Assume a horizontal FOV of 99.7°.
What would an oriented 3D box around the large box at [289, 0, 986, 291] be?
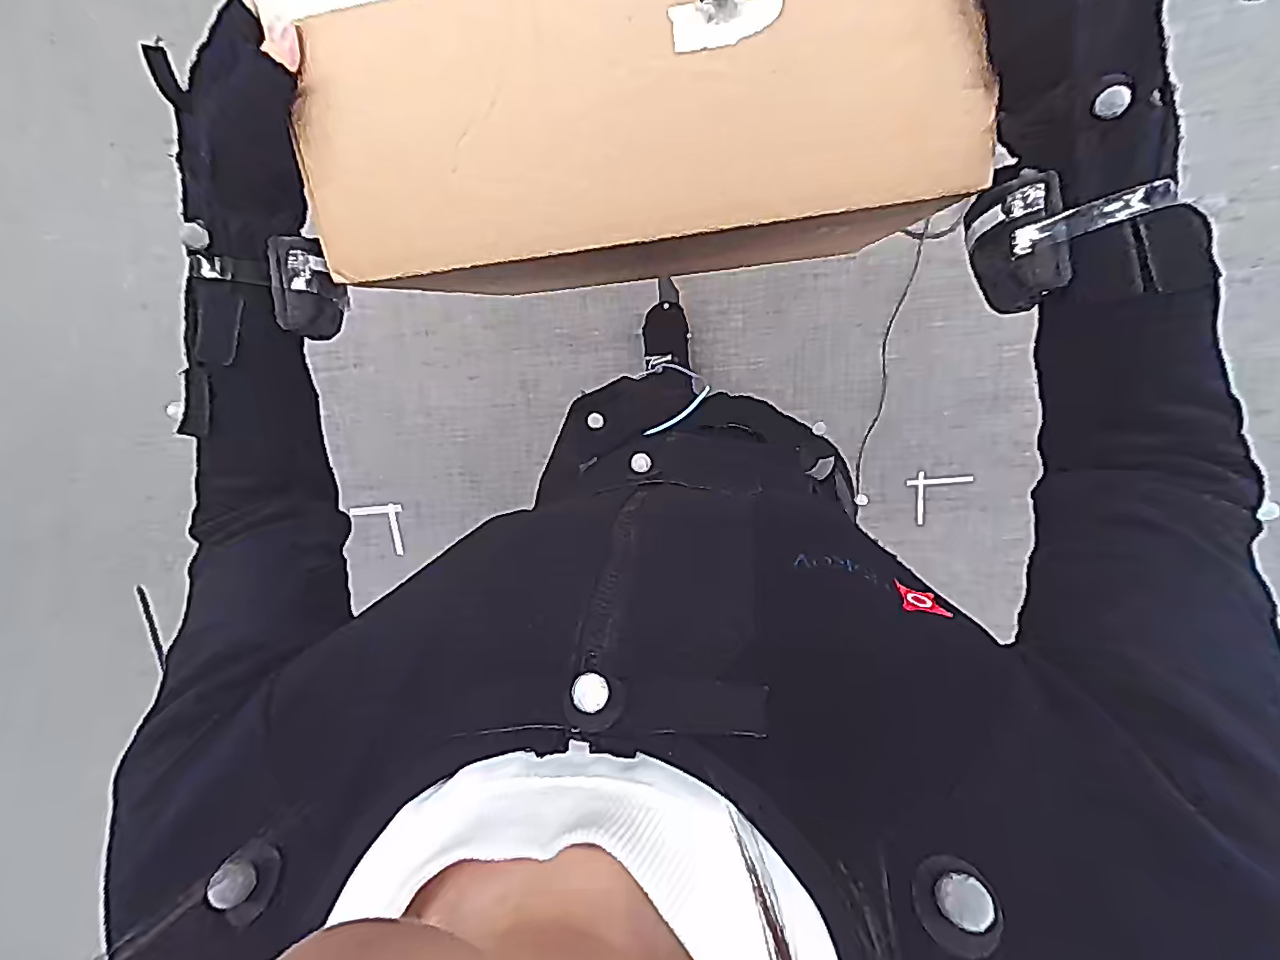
[{"bbox_3d":[-0.001,-0.348,0.439,0.408,0.320,0.320,-4,107,9],"label":"large box"}]
